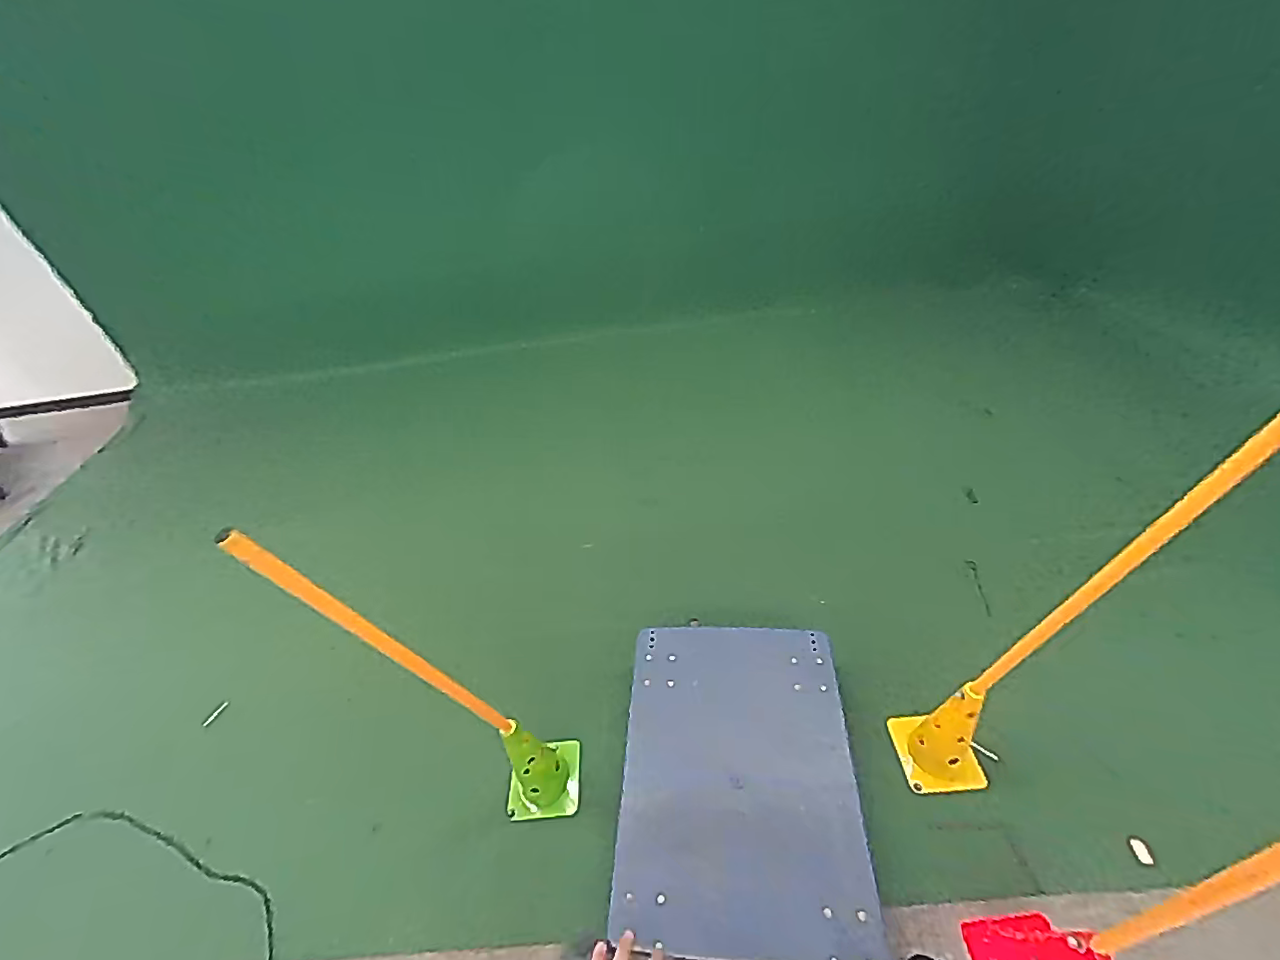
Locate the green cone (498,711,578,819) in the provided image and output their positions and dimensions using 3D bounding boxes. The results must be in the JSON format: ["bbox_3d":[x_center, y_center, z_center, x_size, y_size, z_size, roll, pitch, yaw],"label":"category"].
[{"bbox_3d":[-0.299,0.719,1.428,0.200,0.368,0.202,-7,41,3],"label":"green cone"}]

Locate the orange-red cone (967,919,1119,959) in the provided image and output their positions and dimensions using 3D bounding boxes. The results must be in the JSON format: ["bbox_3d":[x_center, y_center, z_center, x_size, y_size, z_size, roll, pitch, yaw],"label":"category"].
[{"bbox_3d":[0.801,0.919,1.022,0.198,0.360,0.199,-6,40,2],"label":"orange-red cone"}]
